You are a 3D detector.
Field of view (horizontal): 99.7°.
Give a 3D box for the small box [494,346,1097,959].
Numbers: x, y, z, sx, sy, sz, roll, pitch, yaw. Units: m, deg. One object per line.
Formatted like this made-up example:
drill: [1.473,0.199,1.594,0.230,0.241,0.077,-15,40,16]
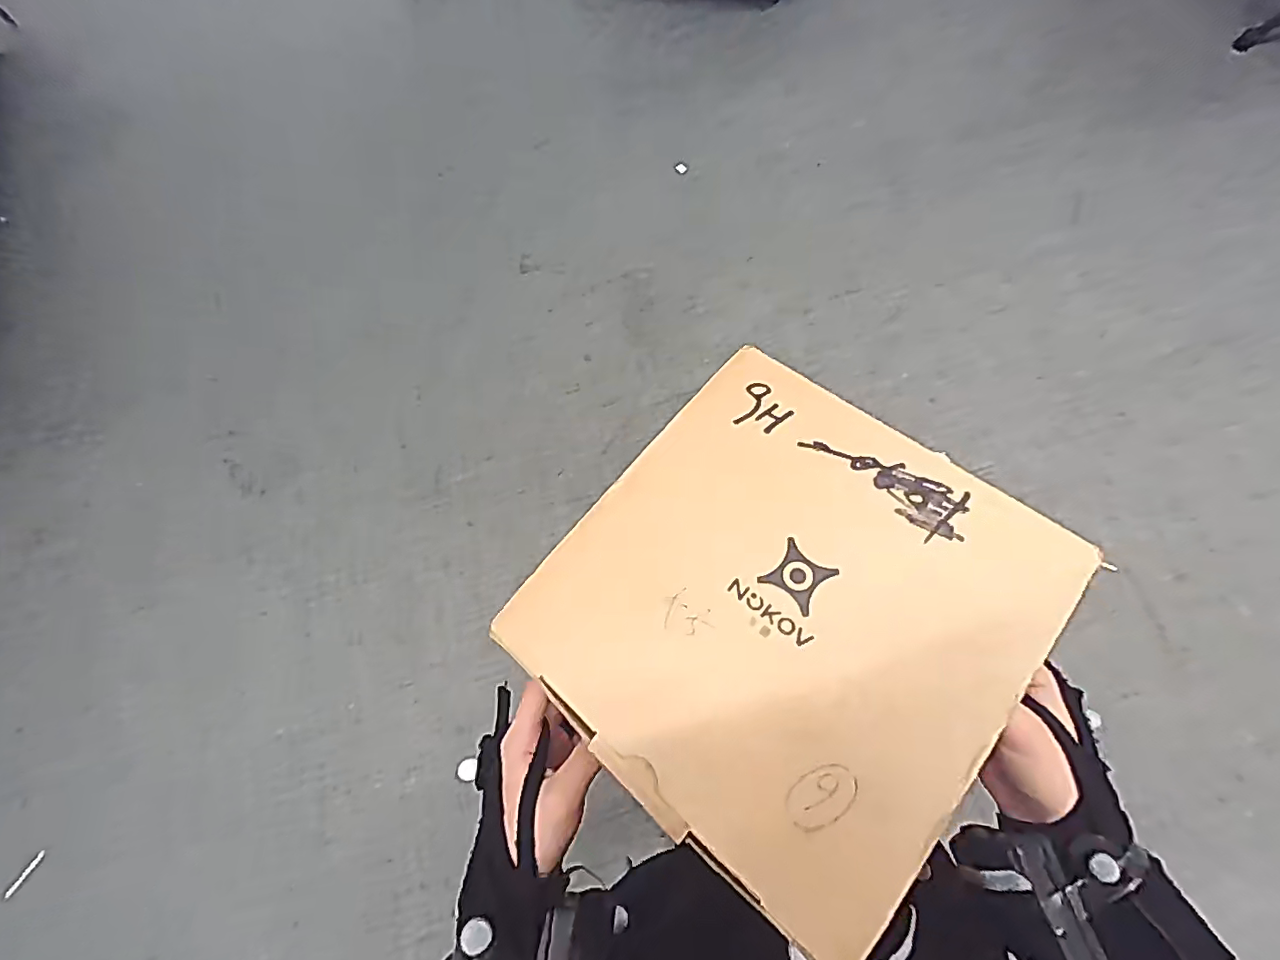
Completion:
small box: [0.065,0.074,0.282,0.168,0.176,0.179,38,77,21]
